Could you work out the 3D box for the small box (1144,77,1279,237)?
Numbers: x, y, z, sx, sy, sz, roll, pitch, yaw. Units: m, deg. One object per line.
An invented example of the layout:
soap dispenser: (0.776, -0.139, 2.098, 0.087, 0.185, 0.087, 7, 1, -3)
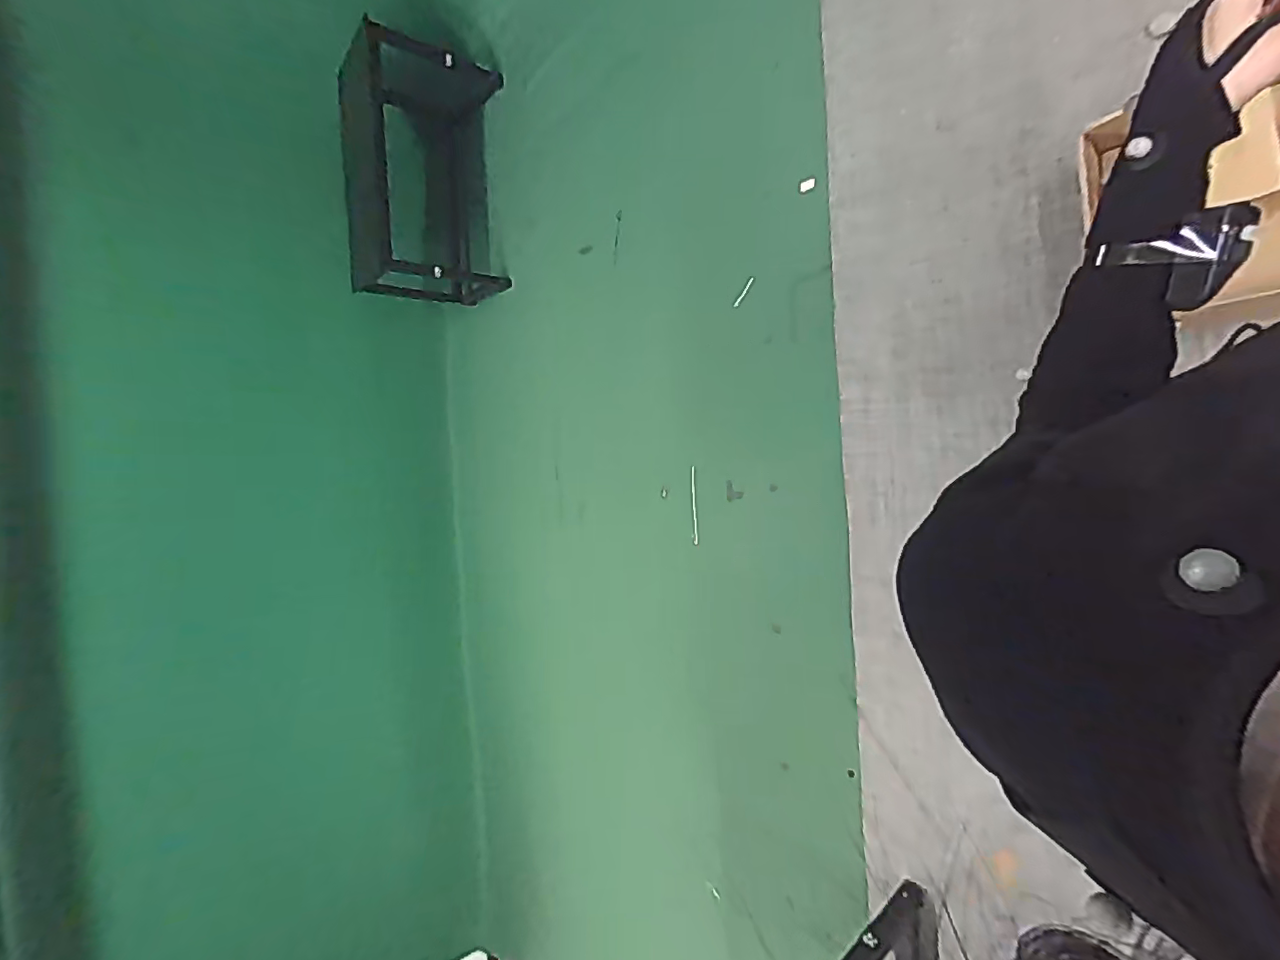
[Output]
small box: (1.028, -0.551, 0.949, 0.179, 0.176, 0.168, -10, 89, 50)
